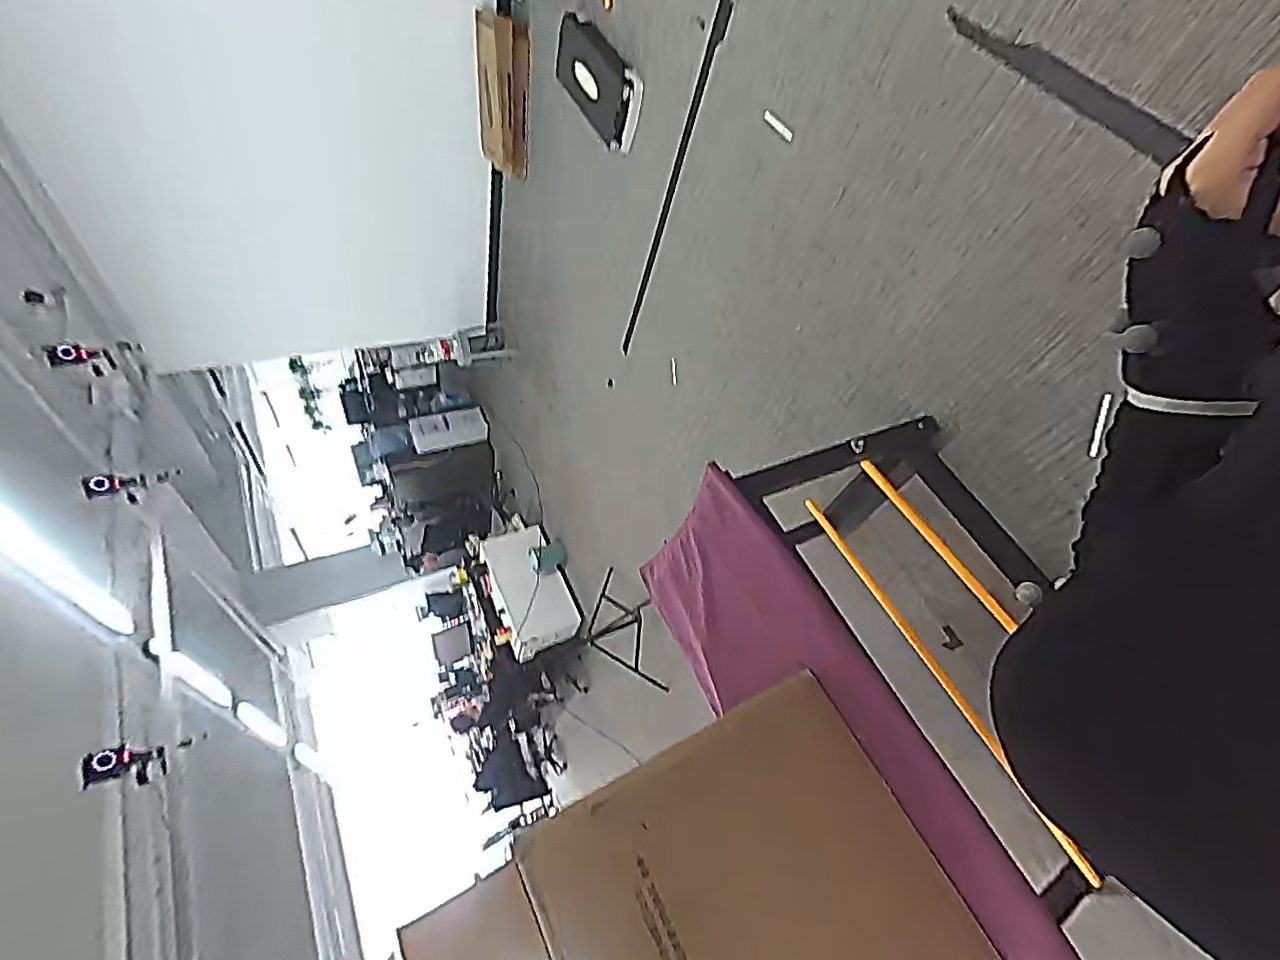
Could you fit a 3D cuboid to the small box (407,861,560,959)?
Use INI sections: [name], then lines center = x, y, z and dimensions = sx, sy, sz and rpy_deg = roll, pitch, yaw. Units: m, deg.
[small box]
center = -0.214, 0.691, 0.774
dimensions = 0.179, 0.176, 0.168
rpy_deg = 57, 148, 29
